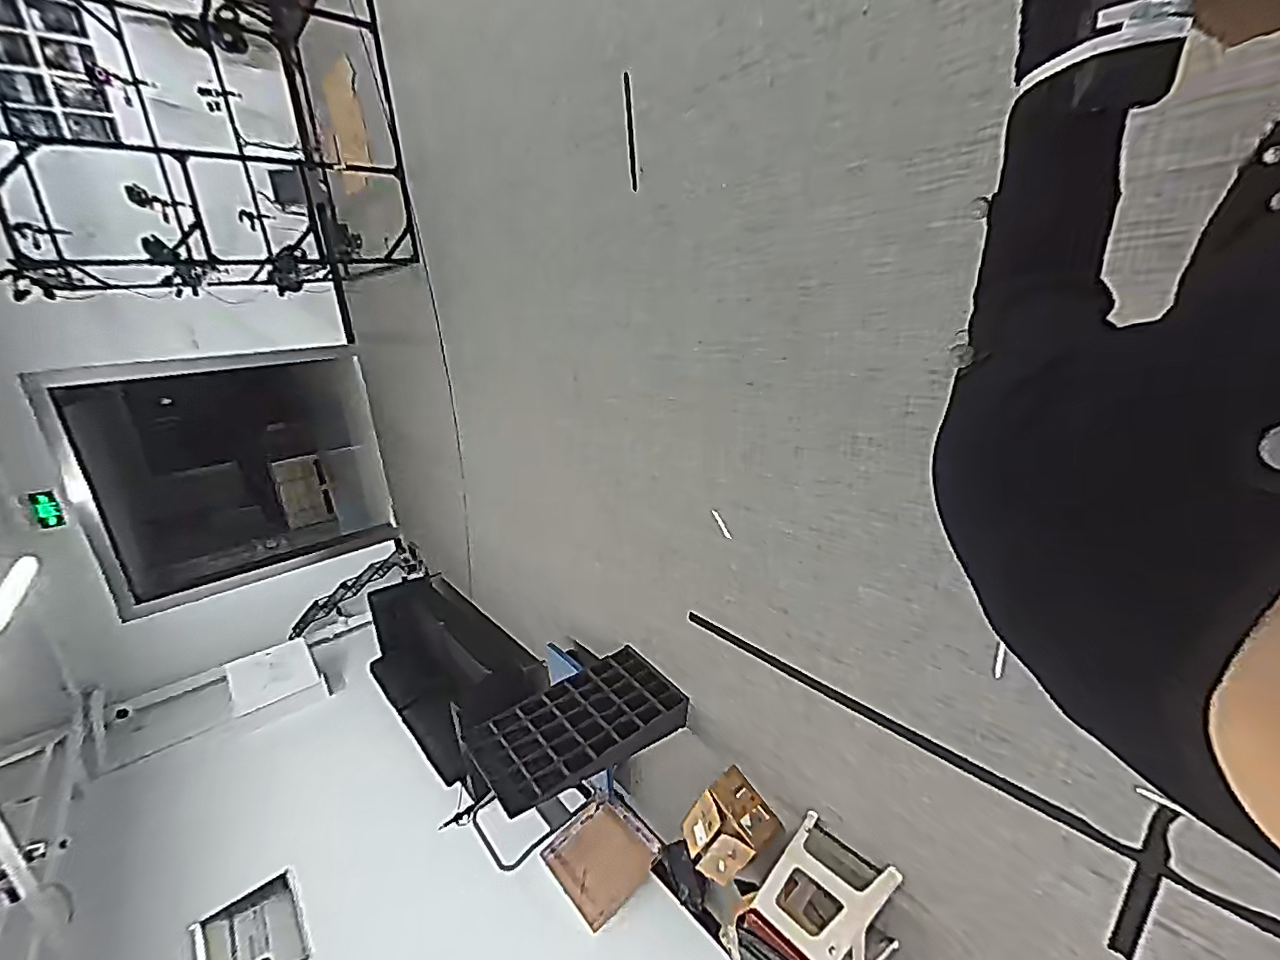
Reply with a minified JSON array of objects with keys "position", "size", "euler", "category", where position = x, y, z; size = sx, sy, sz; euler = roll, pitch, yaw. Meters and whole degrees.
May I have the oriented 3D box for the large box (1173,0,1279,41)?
[{"position":[0.530,-0.484,0.235],"size":[0.408,0.320,0.320],"euler":[10,119,50],"category":"large box"}]
